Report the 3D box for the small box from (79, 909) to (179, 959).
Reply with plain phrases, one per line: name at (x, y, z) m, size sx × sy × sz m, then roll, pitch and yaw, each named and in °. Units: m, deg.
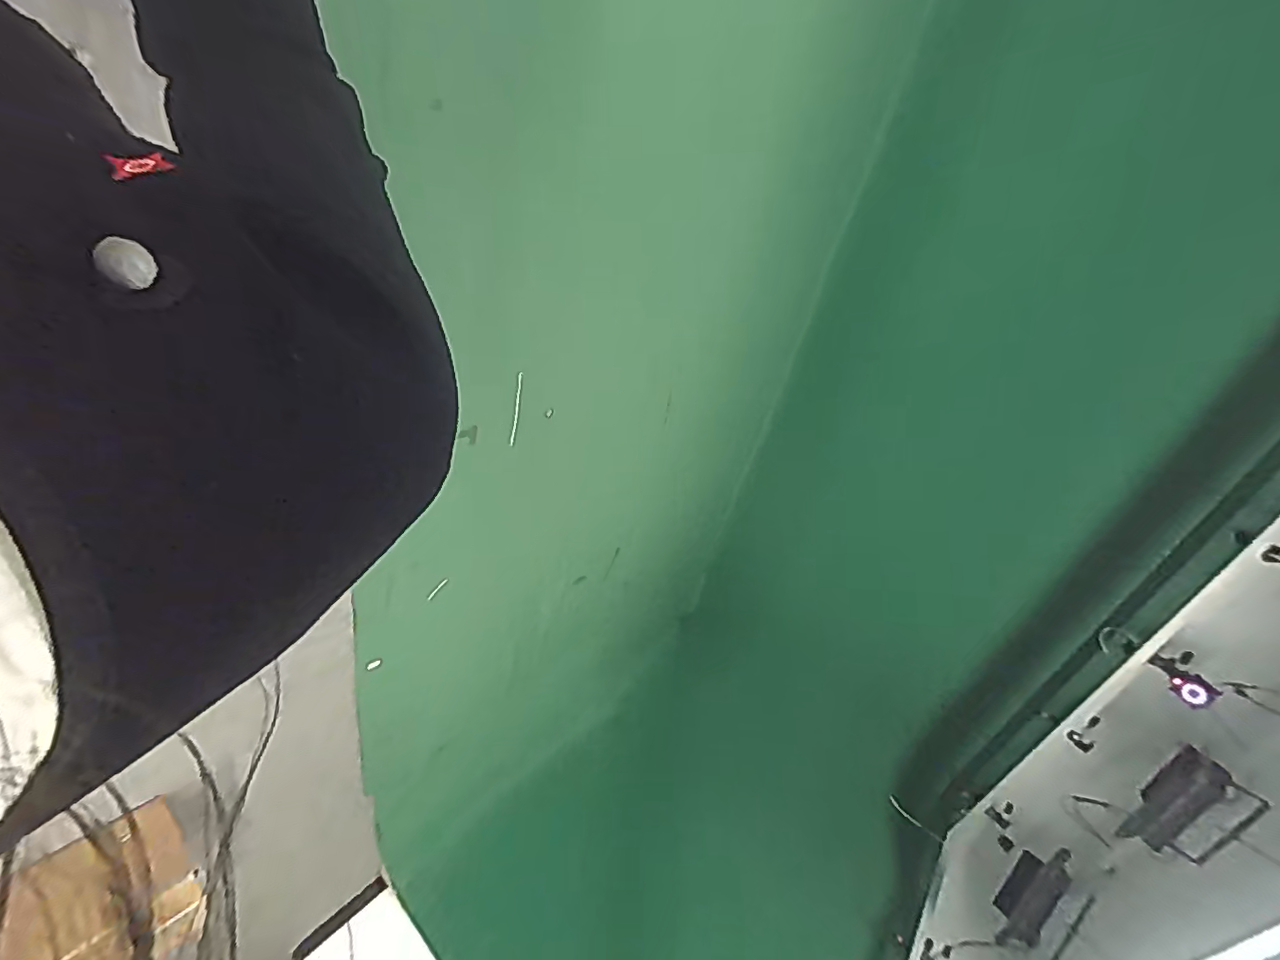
small box at (-1.370, 1.320, 1.461) m, size 0.168 × 0.176 × 0.179 m, roll -20°, pitch 133°, yaw -48°
